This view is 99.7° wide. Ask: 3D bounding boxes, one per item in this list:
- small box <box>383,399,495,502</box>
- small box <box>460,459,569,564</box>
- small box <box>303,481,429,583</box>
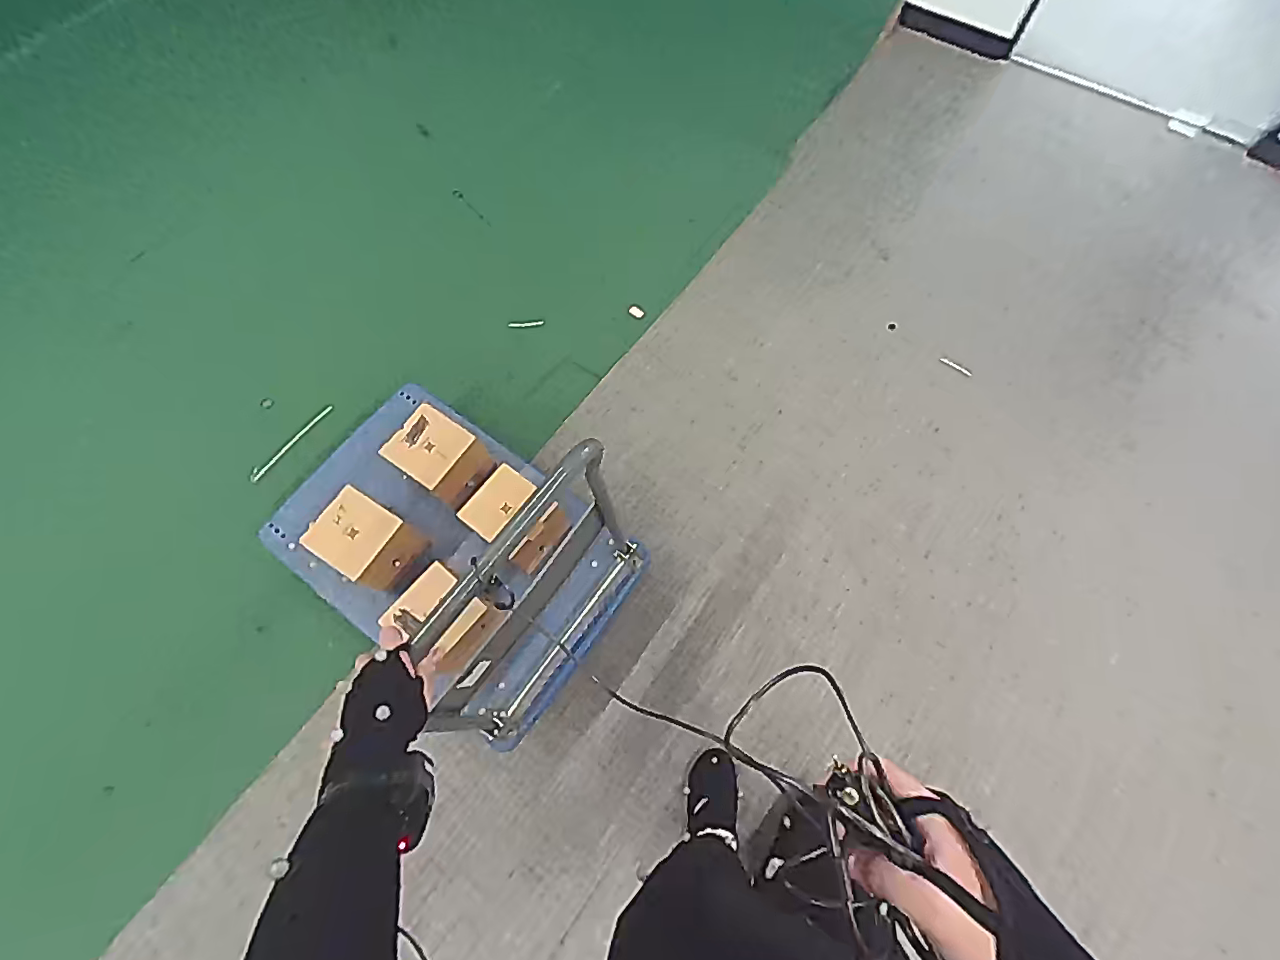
[{"bbox_3d":[-0.499,-0.068,1.369,0.179,0.176,0.168,33,75,11],"label":"small box"},{"bbox_3d":[-0.294,0.084,1.308,0.179,0.176,0.168,36,75,13],"label":"small box"},{"bbox_3d":[-0.645,0.133,1.300,0.179,0.176,0.168,31,73,12],"label":"small box"}]
